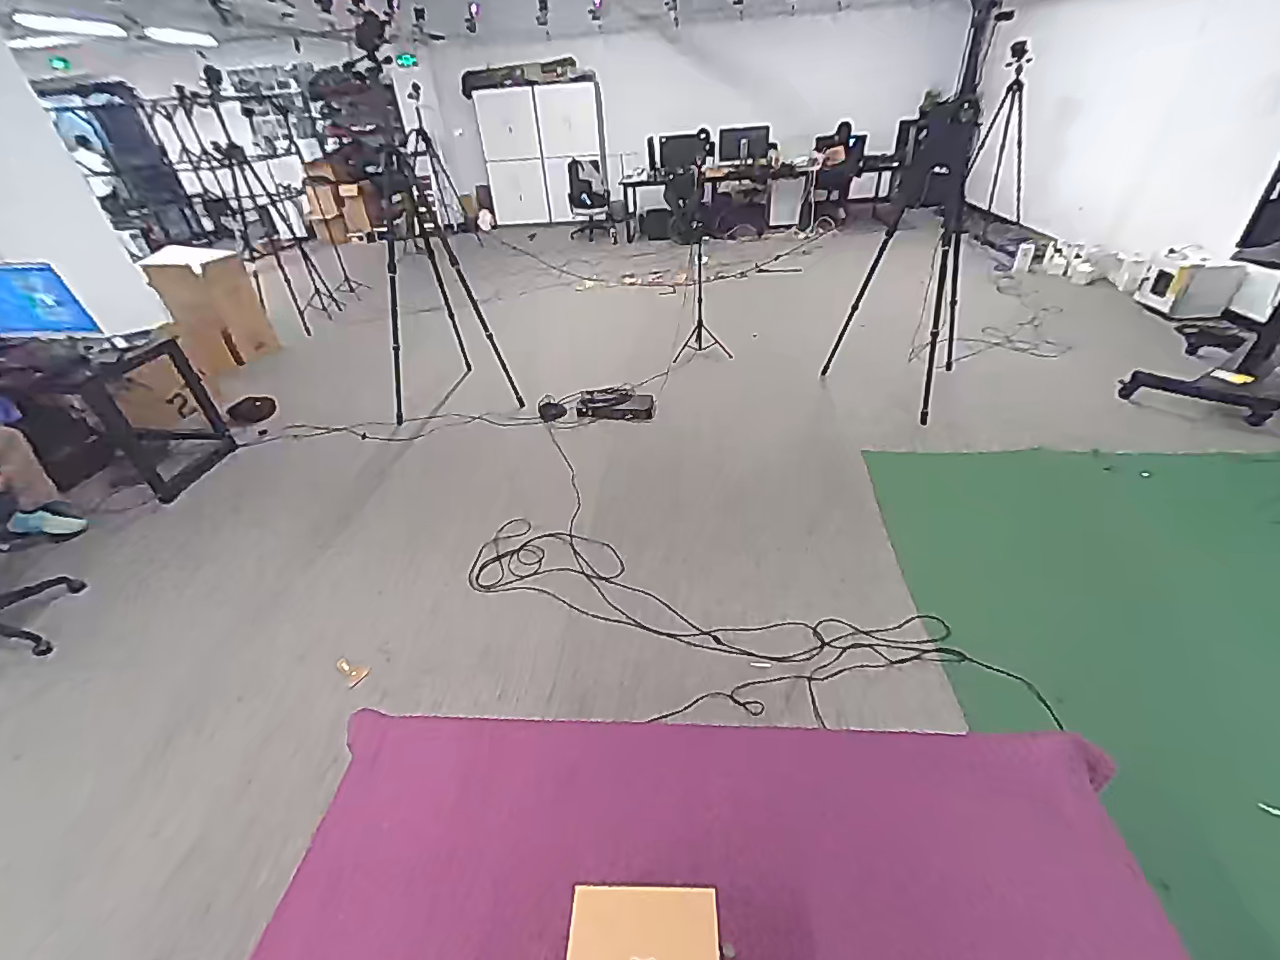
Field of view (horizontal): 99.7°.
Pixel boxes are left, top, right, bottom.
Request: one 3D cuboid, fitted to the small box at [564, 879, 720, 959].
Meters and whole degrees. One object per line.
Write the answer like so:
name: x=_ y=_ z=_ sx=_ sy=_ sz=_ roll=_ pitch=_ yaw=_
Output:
small box: x=0.006 y=0.577 z=0.595 sx=0.168 sy=0.176 sz=0.179 roll=-3 pitch=34 yaw=6
